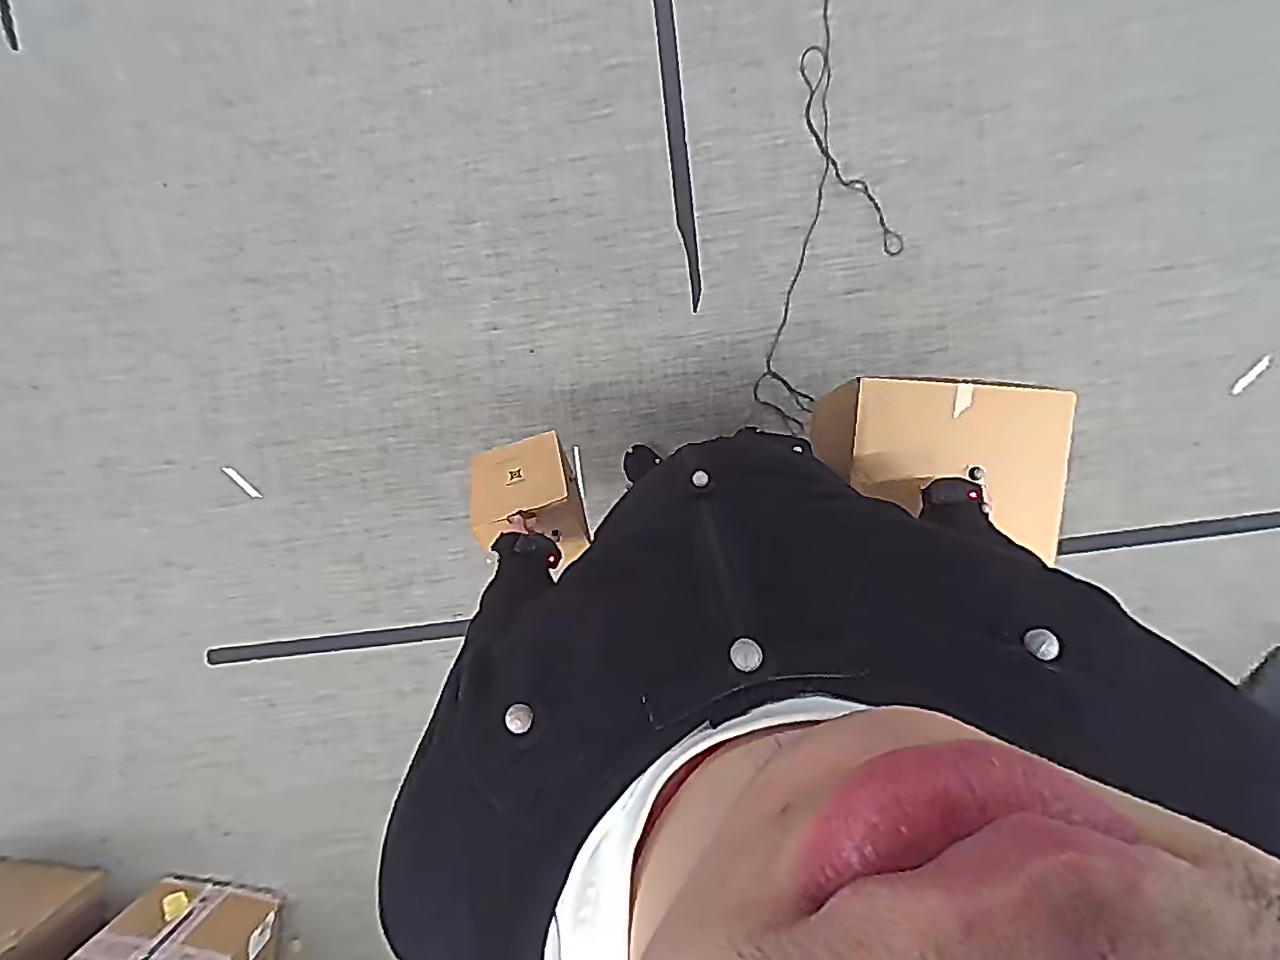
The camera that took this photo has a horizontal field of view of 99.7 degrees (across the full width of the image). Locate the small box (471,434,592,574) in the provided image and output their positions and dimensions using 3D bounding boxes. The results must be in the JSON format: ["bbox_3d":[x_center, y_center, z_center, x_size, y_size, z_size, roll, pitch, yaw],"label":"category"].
[{"bbox_3d":[-0.196,0.051,0.988,0.168,0.179,0.176,-17,137,-2],"label":"small box"}]
